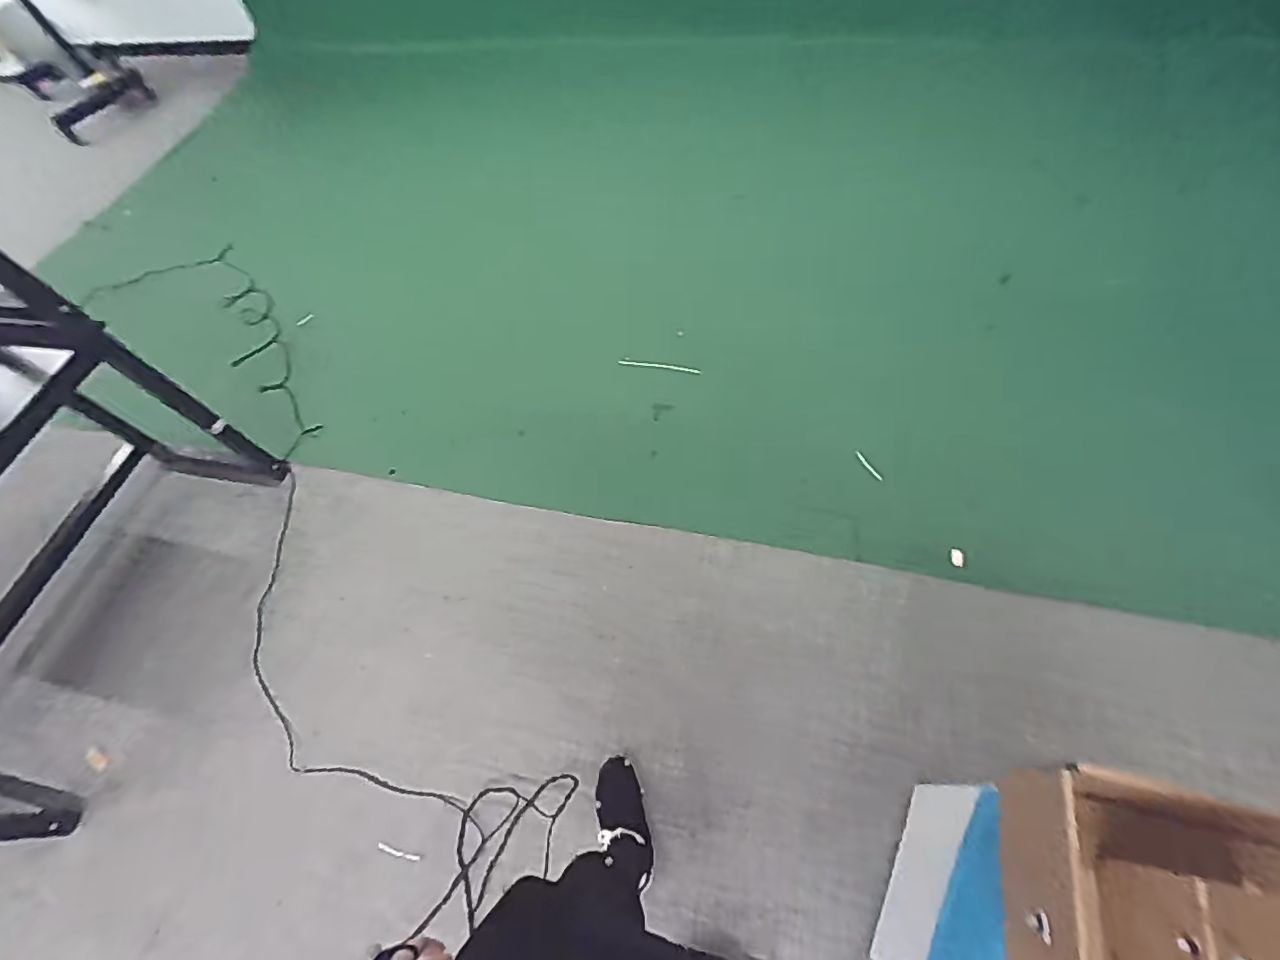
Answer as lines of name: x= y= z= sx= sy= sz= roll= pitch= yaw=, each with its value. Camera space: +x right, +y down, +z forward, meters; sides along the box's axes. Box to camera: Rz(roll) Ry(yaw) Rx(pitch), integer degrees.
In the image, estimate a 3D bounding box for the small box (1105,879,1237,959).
small box: x=0.655 y=0.554 z=0.575 sx=0.179 sy=0.176 sz=0.168 roll=11 pitch=62 yaw=11
